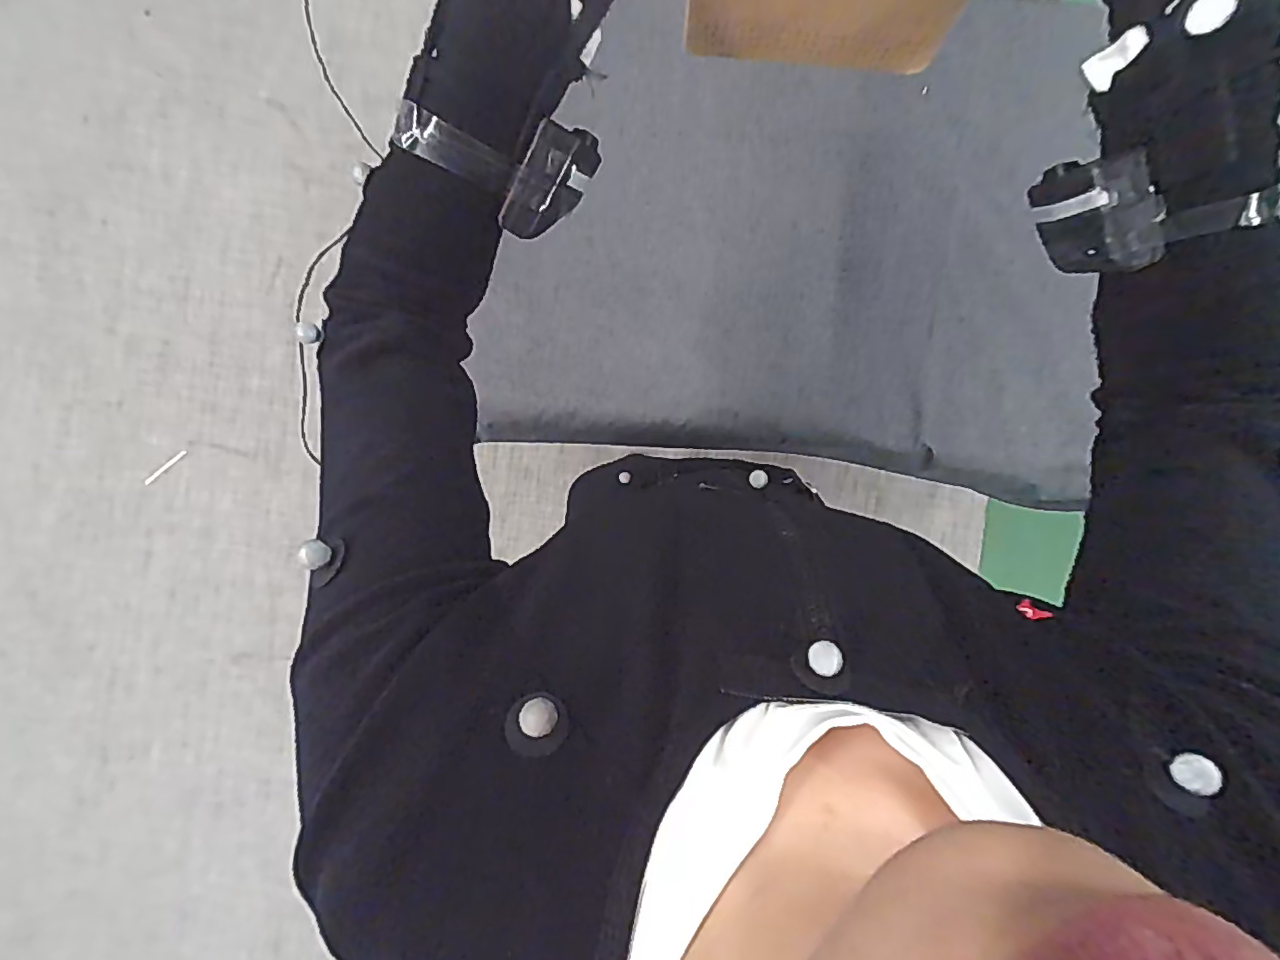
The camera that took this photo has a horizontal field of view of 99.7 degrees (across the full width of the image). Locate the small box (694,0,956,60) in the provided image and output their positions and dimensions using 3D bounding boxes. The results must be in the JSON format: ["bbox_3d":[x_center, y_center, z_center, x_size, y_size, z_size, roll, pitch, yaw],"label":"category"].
[{"bbox_3d":[0.128,-0.389,0.313,0.179,0.176,0.168,5,89,0],"label":"small box"}]
